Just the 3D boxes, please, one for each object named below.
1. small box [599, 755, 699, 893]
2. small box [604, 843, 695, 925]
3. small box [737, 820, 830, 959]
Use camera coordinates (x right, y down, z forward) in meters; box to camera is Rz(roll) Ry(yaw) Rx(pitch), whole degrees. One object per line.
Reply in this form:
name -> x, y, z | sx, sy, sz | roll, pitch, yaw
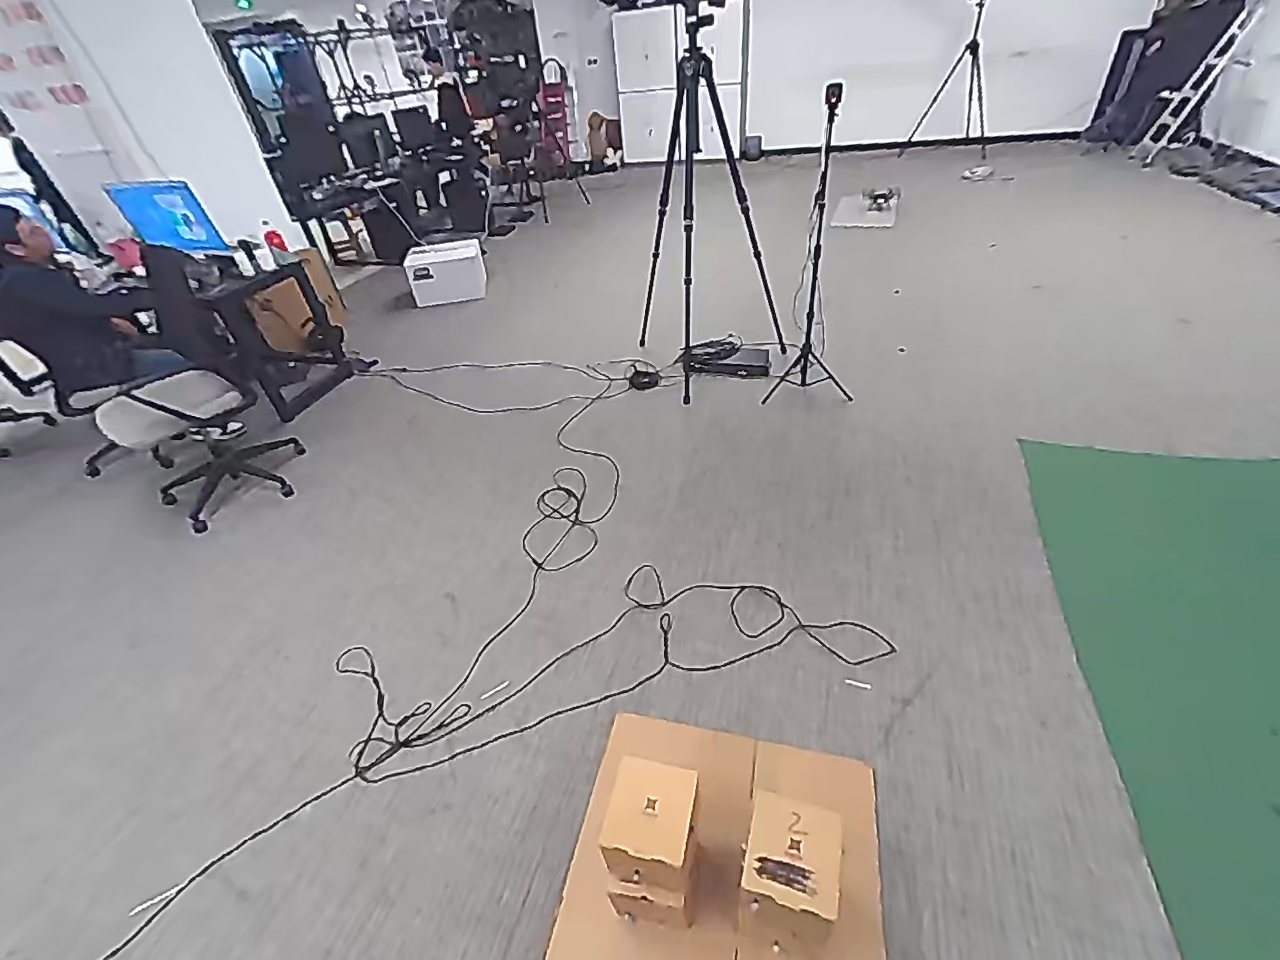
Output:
small box -> 0.026, 0.712, 1.124 | 0.168, 0.176, 0.179 | 6, 40, 15
small box -> 0.030, 0.856, 1.206 | 0.168, 0.176, 0.179 | 4, 40, 13
small box -> 0.303, 0.872, 1.149 | 0.168, 0.176, 0.179 | 7, 41, 19
